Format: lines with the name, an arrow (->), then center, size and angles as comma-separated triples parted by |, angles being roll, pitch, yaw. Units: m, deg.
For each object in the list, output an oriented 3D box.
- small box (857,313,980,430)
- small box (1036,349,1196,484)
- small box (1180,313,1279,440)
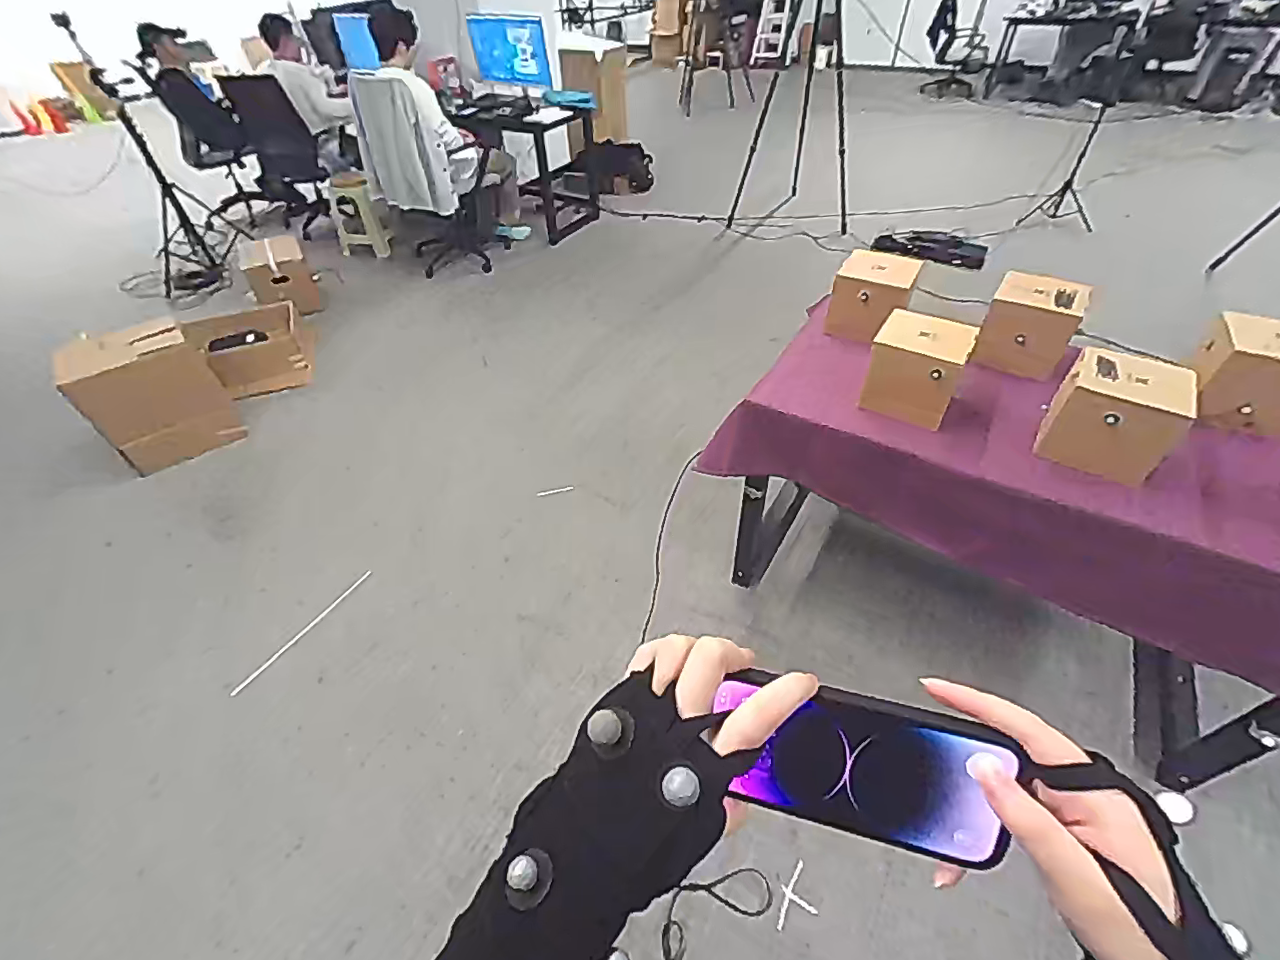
small box -> 0.594, -0.234, 1.169 | 0.179, 0.176, 0.168 | 25, 51, 24
small box -> 0.899, -0.120, 1.034 | 0.179, 0.176, 0.168 | 26, 52, 25
small box -> 1.245, -0.213, 1.106 | 0.168, 0.176, 0.179 | 20, 49, 23
